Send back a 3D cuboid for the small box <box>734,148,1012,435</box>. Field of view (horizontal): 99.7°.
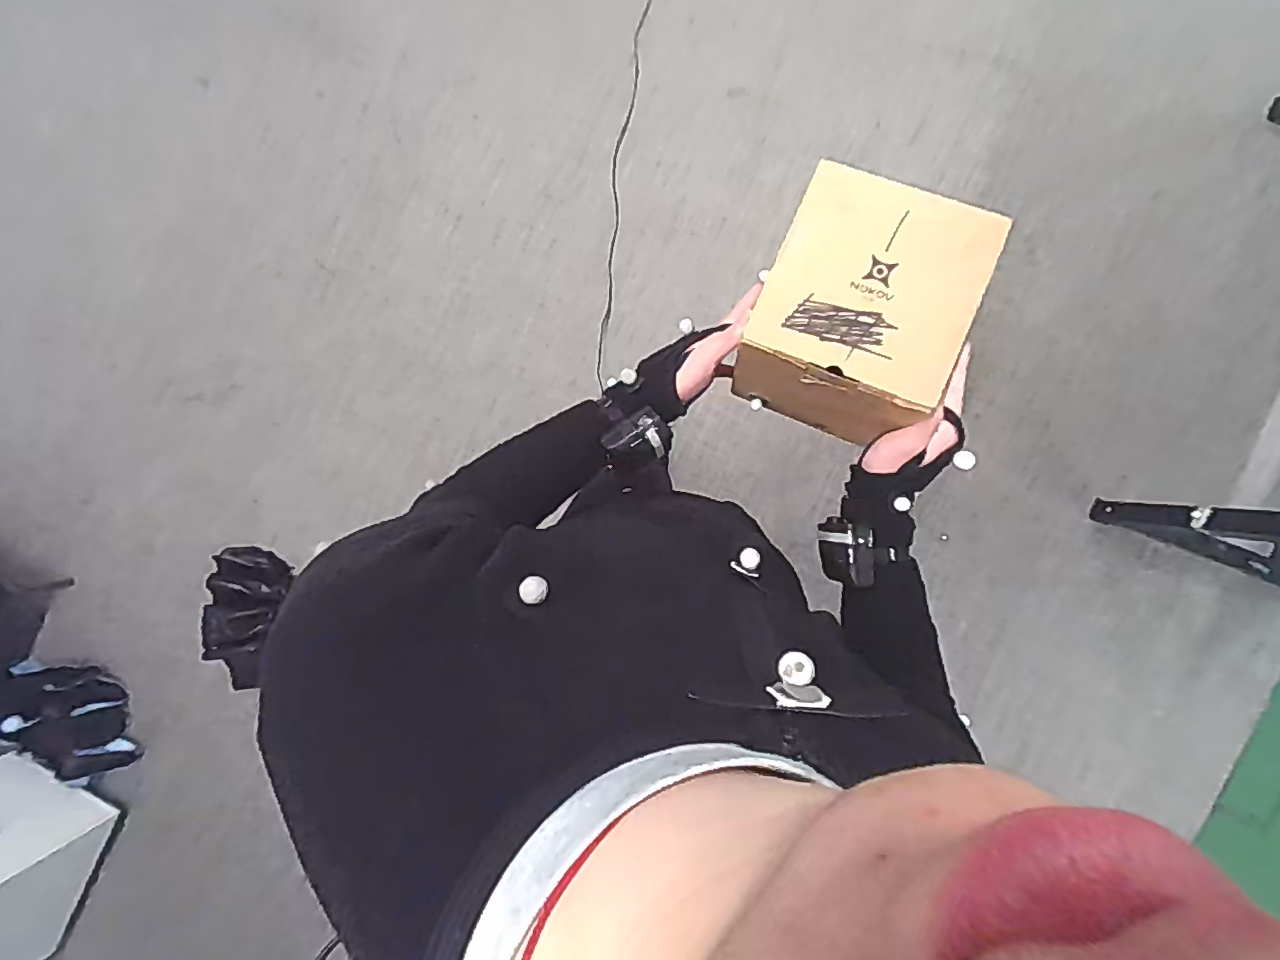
[{"bbox_3d":[0.198,-0.160,0.515,0.168,0.176,0.179,25,87,9],"label":"small box"}]
